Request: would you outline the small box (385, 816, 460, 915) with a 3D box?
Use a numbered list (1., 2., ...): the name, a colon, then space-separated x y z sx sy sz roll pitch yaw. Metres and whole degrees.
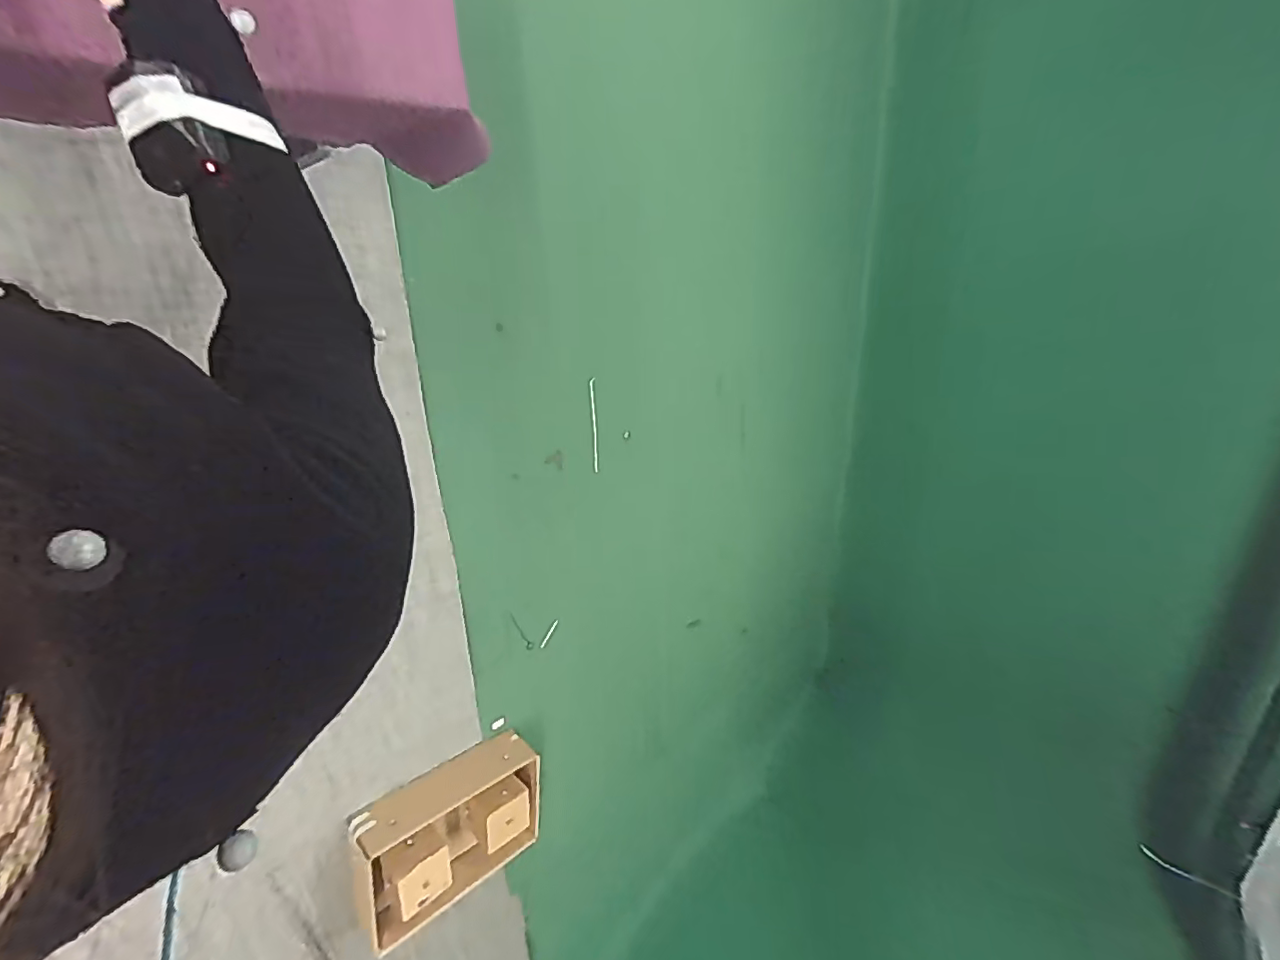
1. small box: -0.711 1.238 1.760 0.168 0.176 0.179 -17 114 -43
